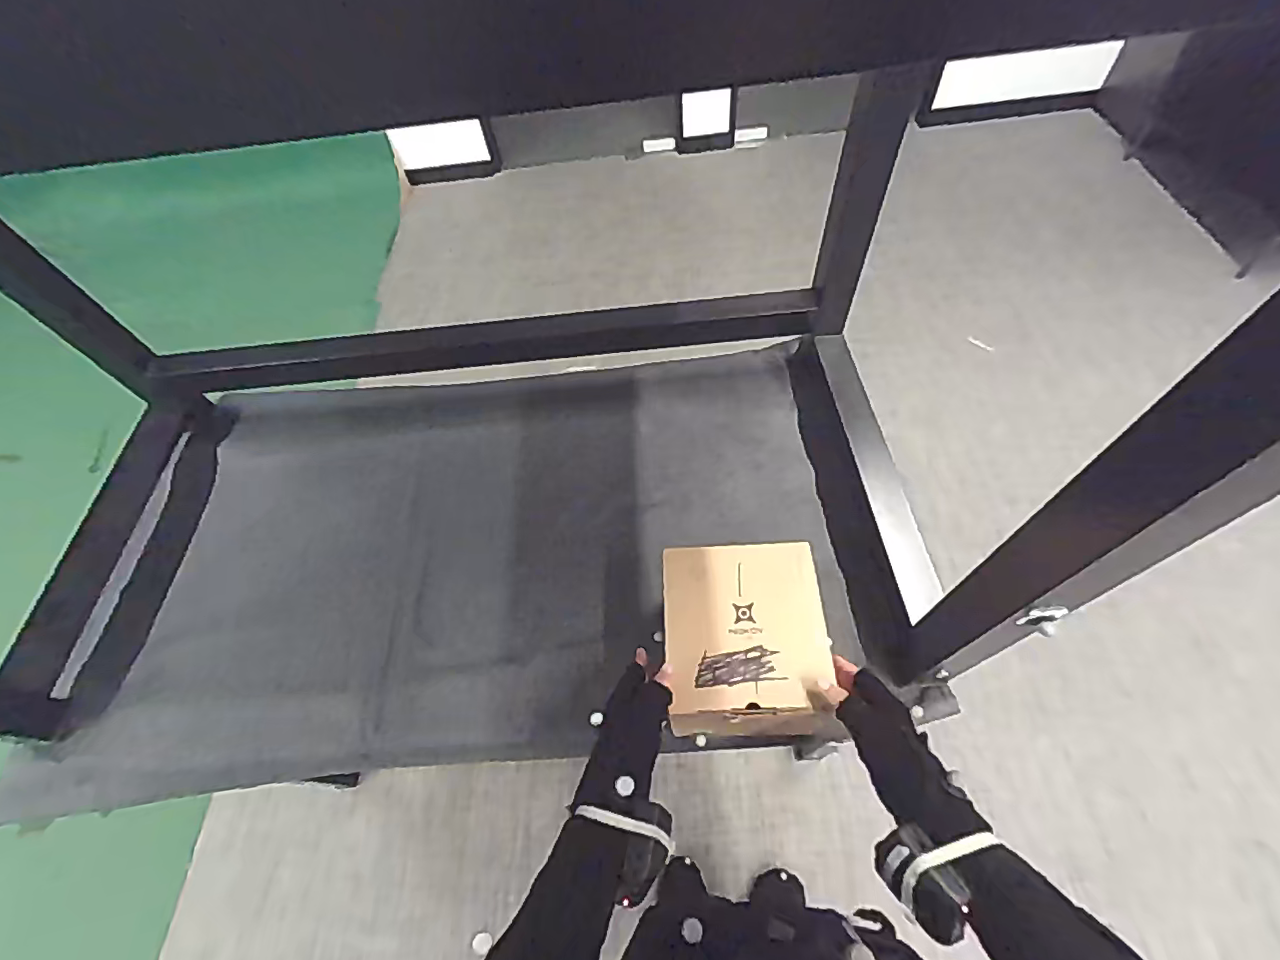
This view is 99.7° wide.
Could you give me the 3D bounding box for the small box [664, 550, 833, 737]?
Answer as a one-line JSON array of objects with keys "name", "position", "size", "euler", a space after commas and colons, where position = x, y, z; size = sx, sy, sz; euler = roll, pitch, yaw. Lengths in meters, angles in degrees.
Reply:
[{"name": "small box", "position": [0.116, 0.199, 0.638], "size": [0.168, 0.176, 0.179], "euler": [-3, 56, 5]}]
